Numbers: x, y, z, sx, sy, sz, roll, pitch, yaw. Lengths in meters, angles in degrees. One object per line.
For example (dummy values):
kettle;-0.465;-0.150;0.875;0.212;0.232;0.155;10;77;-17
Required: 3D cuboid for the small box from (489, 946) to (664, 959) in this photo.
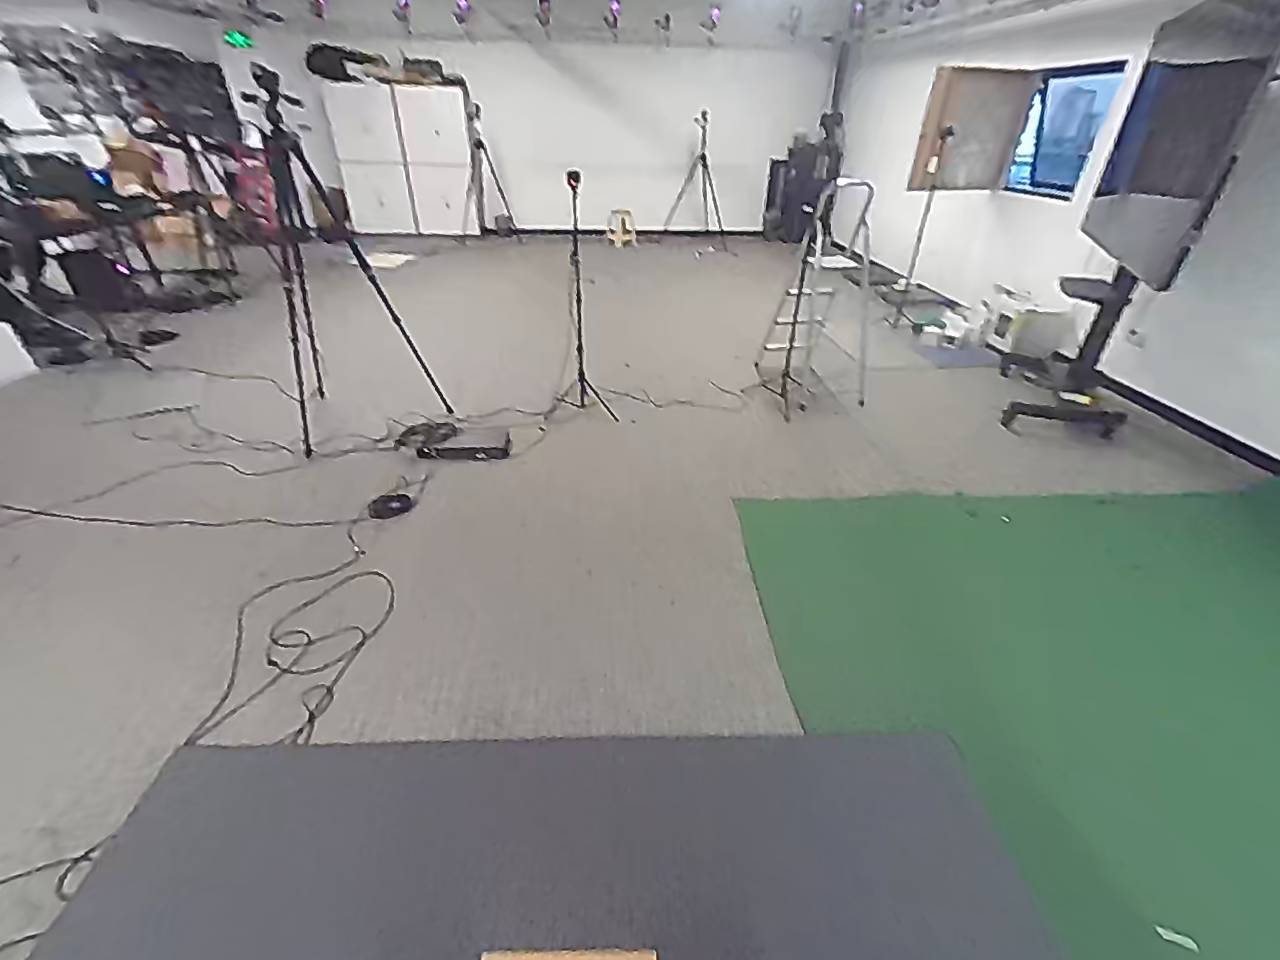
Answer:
small box;-0.060;0.552;0.476;0.168;0.176;0.179;0;33;-1
